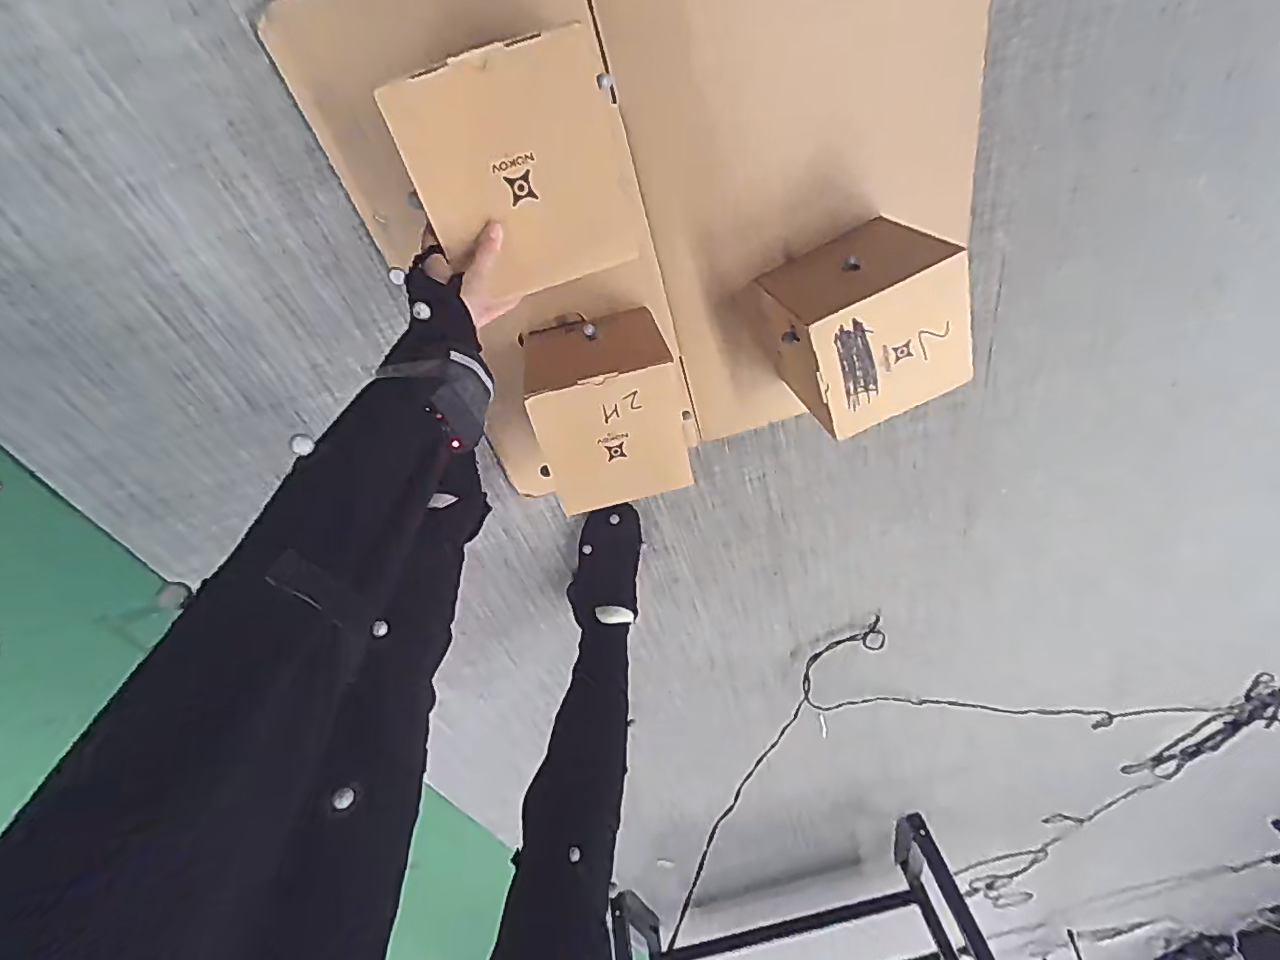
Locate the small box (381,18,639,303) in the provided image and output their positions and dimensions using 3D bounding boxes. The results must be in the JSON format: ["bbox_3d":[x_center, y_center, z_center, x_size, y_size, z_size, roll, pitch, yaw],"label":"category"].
[{"bbox_3d":[-0.107,-0.296,0.516,0.168,0.176,0.179,-17,123,1],"label":"small box"}]

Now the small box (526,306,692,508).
[{"bbox_3d":[-0.038,-0.095,0.683,0.168,0.176,0.179,-13,127,-1],"label":"small box"}]
